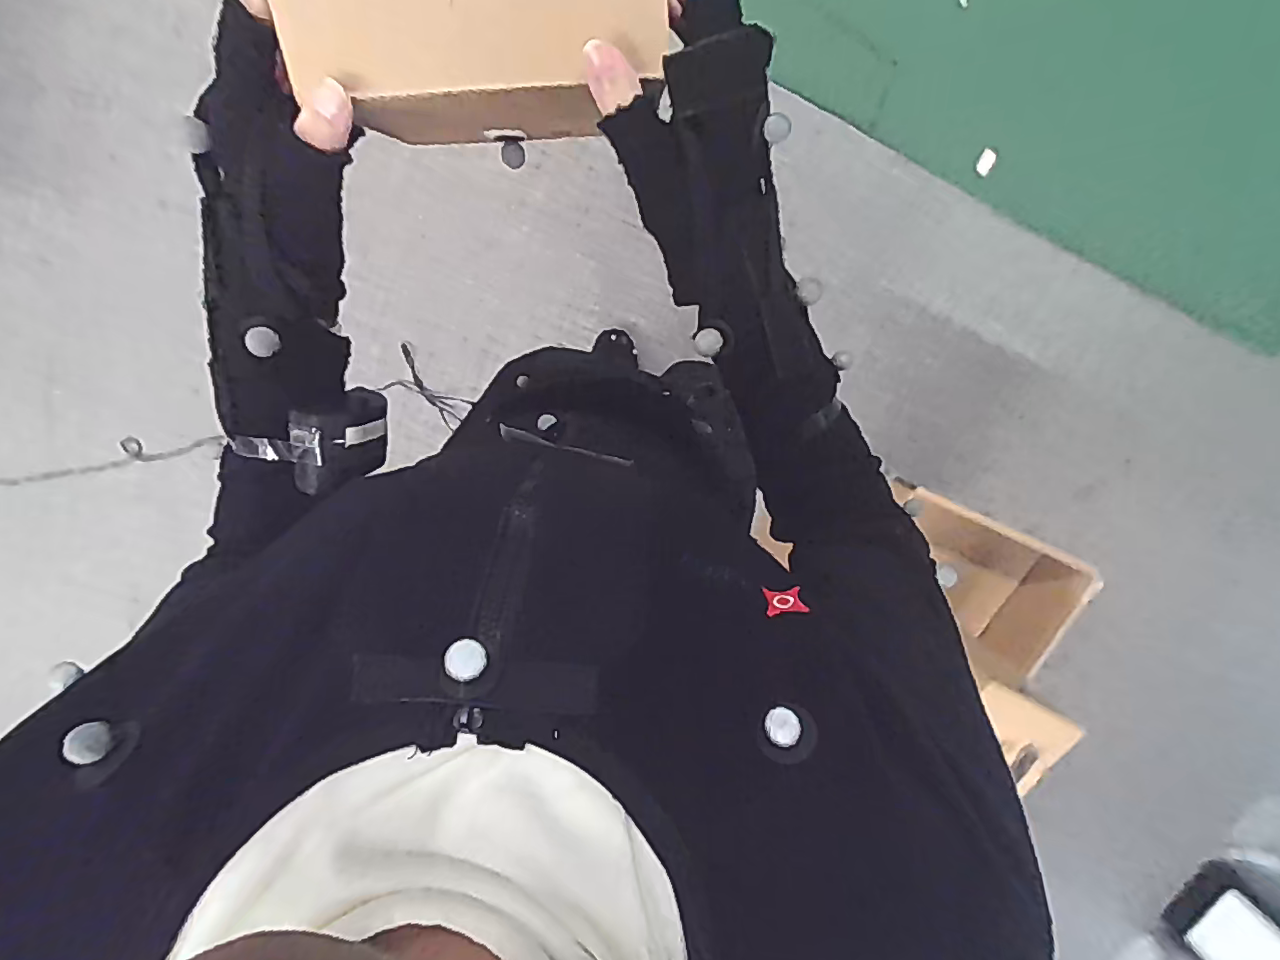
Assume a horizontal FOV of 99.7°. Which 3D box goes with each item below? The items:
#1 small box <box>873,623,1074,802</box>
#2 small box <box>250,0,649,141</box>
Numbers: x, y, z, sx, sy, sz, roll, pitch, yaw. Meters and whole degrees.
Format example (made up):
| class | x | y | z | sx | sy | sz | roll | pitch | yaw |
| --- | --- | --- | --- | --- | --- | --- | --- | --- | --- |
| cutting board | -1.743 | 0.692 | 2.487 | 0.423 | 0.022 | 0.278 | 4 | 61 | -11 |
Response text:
| class | x | y | z | sx | sy | sz | roll | pitch | yaw |
| --- | --- | --- | --- | --- | --- | --- | --- | --- | --- |
| small box | 0.518 | 0.362 | 0.869 | 0.179 | 0.176 | 0.168 | 29 | 104 | -8 |
| small box | -0.086 | -0.289 | 0.272 | 0.168 | 0.176 | 0.179 | -5 | 116 | 0 |
